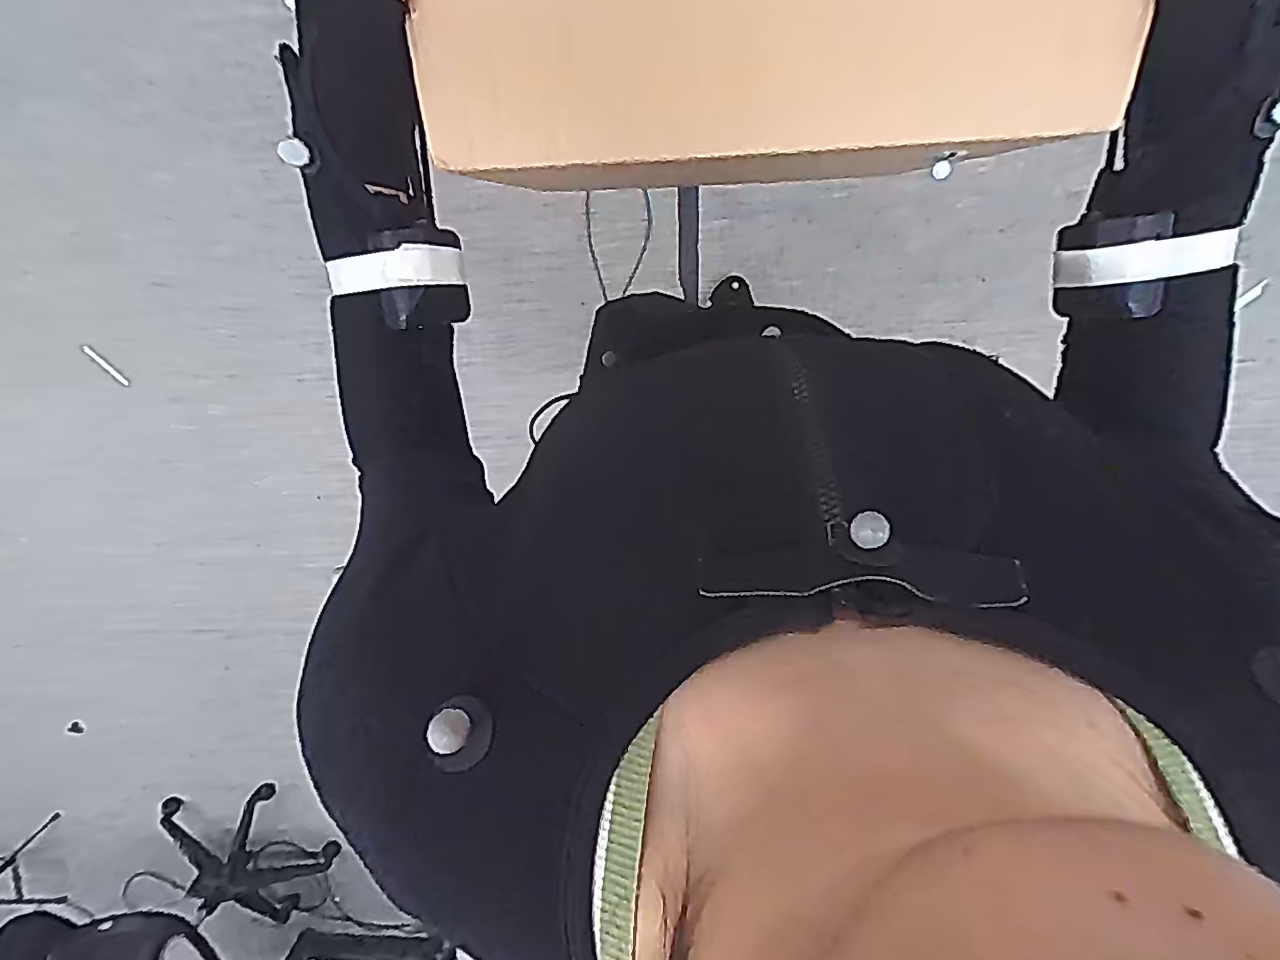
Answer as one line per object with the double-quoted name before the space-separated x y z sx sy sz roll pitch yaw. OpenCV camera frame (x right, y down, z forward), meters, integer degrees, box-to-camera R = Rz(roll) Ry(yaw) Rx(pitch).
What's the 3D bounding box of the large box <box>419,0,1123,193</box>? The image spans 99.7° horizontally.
"large box" 0.074 -0.405 0.406 0.408 0.320 0.320 -2 115 4
